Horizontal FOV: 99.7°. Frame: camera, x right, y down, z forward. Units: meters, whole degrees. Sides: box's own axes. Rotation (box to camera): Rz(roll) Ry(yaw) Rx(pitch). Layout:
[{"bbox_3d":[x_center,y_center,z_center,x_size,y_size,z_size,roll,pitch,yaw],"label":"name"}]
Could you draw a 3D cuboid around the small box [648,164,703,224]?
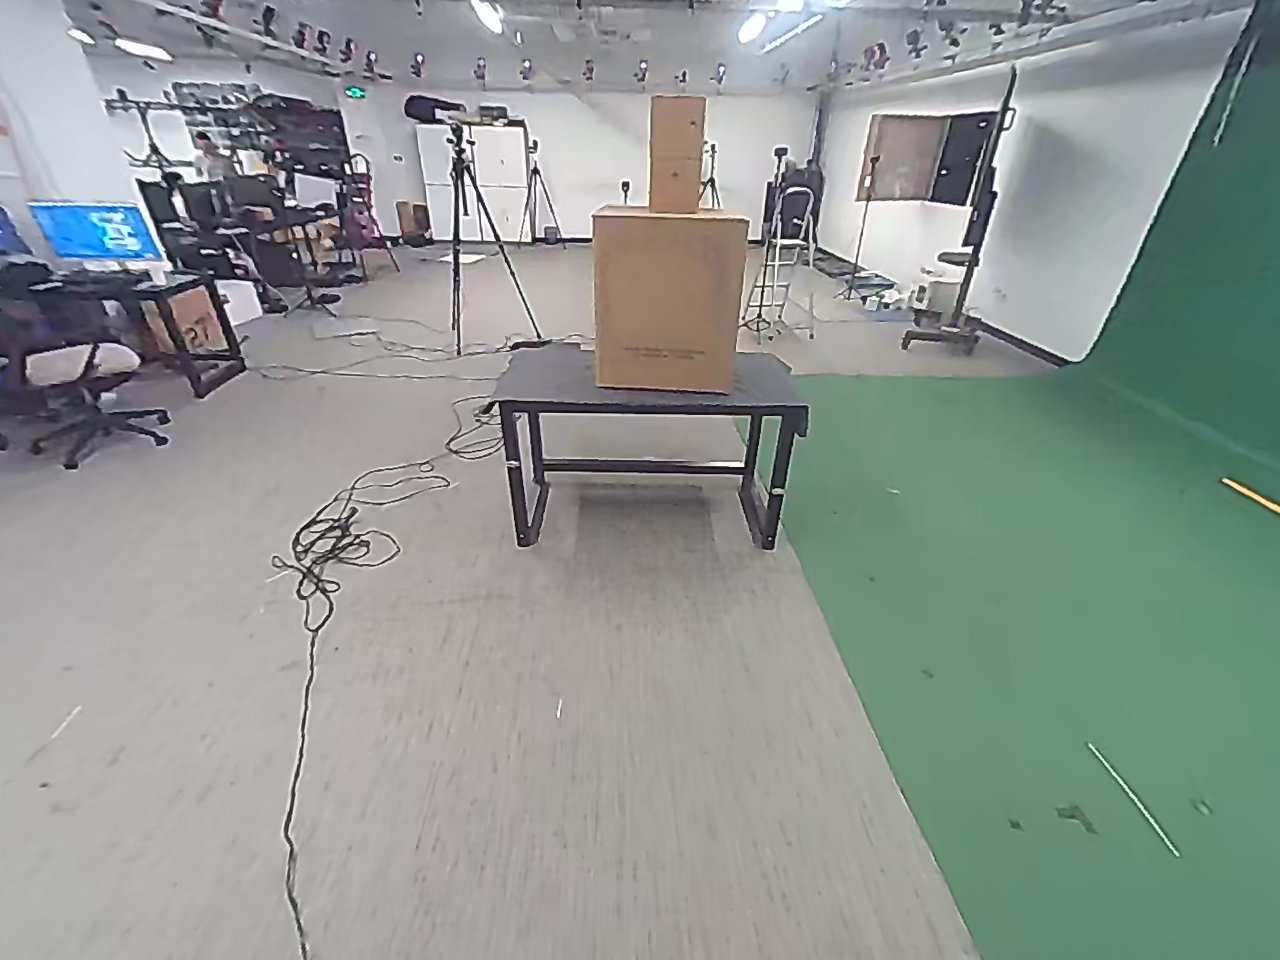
[{"bbox_3d":[0.124,-0.997,1.882,0.179,0.176,0.168,4,33,4],"label":"small box"}]
